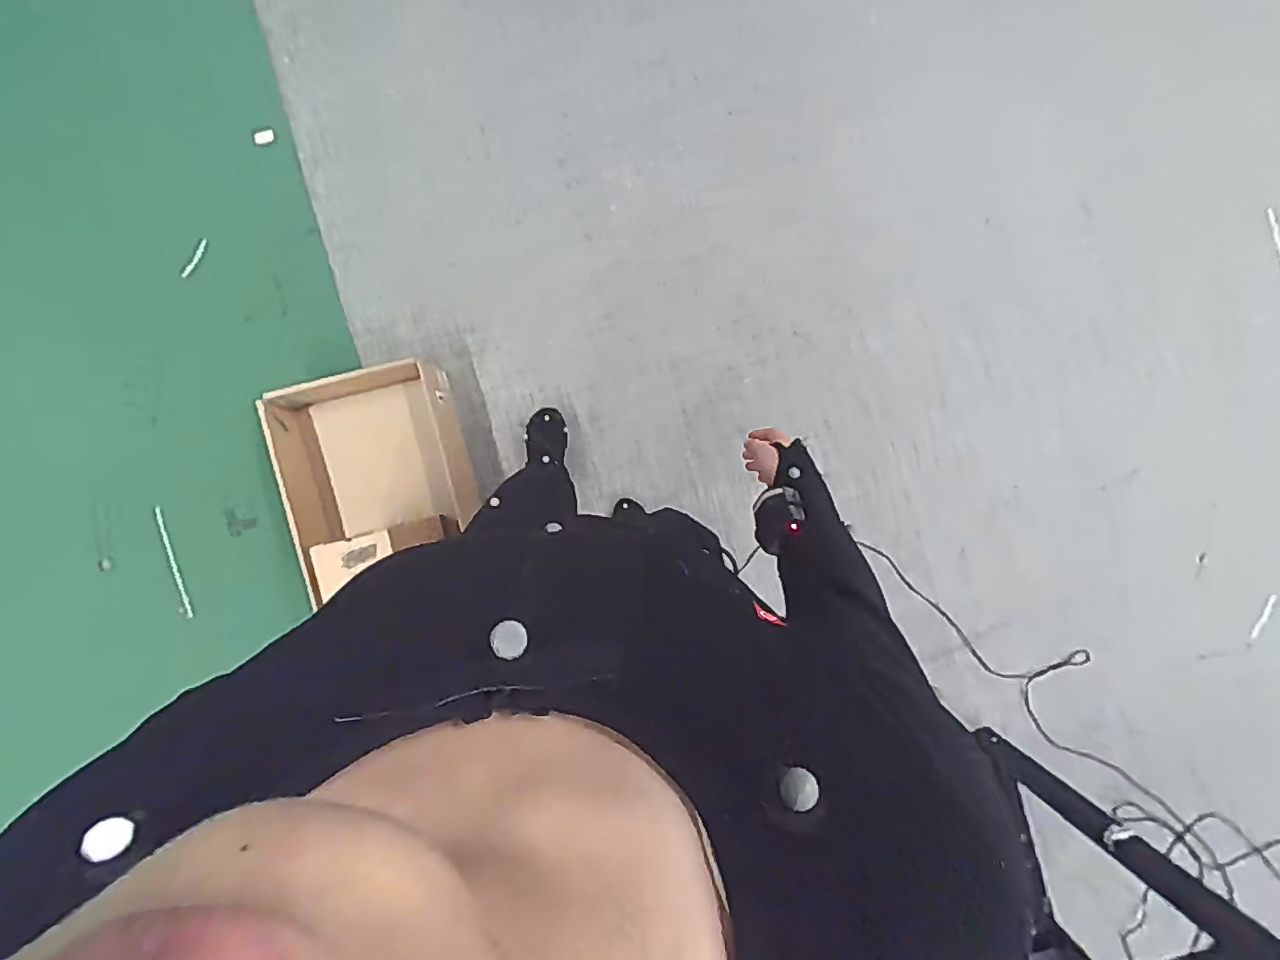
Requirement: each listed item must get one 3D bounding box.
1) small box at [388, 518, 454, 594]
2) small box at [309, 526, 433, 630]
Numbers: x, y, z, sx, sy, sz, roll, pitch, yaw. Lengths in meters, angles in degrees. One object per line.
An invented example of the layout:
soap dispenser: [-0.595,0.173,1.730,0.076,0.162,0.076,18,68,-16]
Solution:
small box: [-0.579,0.200,1.333,0.168,0.176,0.179,-15,91,-2]
small box: [-0.571,0.202,1.169,0.168,0.176,0.179,-14,92,-1]
